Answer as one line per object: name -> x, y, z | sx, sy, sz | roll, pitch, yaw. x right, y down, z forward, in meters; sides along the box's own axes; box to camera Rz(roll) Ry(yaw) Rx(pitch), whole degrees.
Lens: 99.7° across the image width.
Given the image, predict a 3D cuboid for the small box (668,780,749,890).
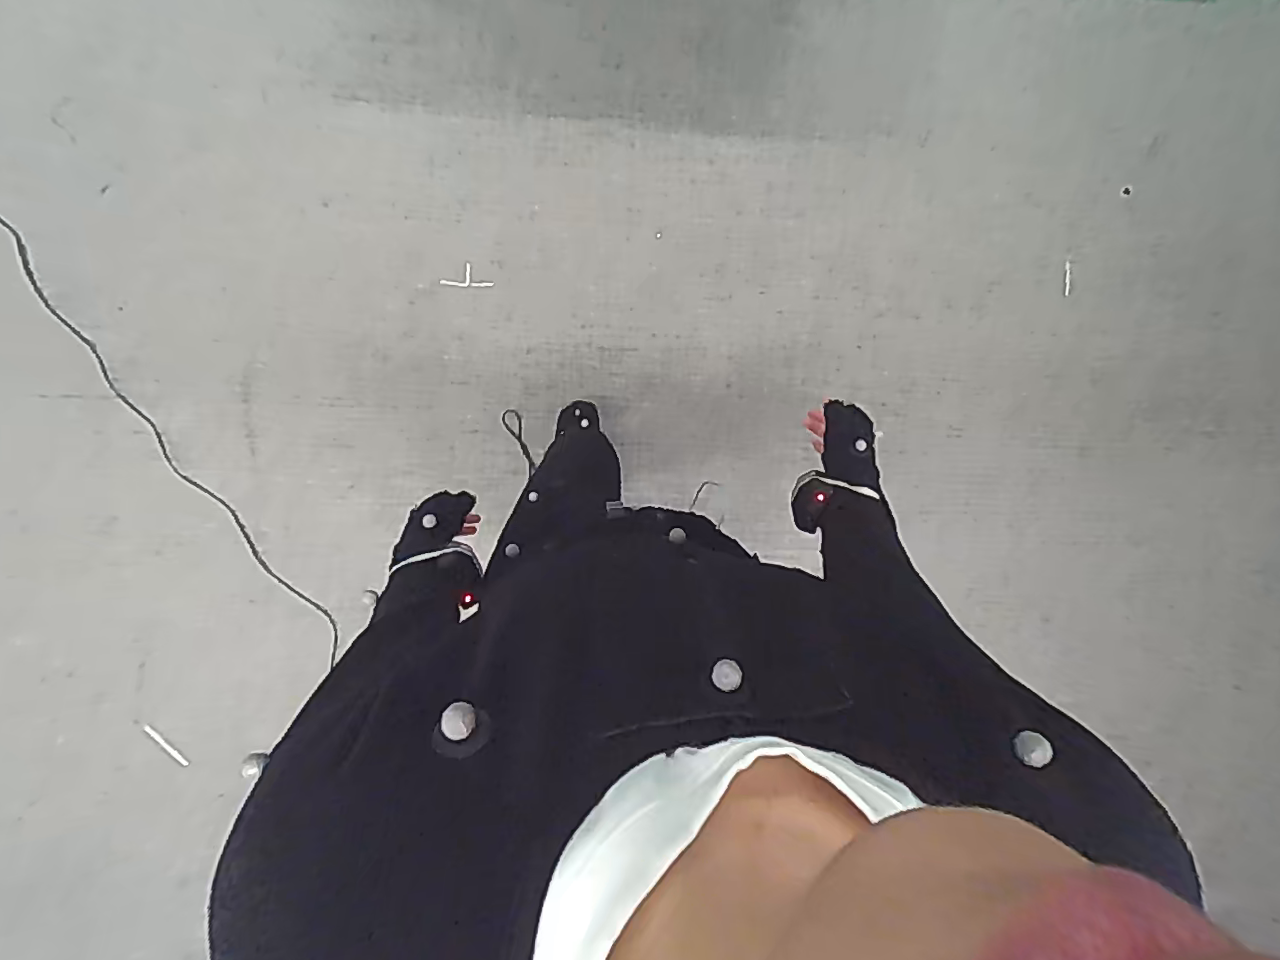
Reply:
small box -> 0.167, 0.898, 1.383 | 0.179, 0.176, 0.168 | -4, 90, -6
